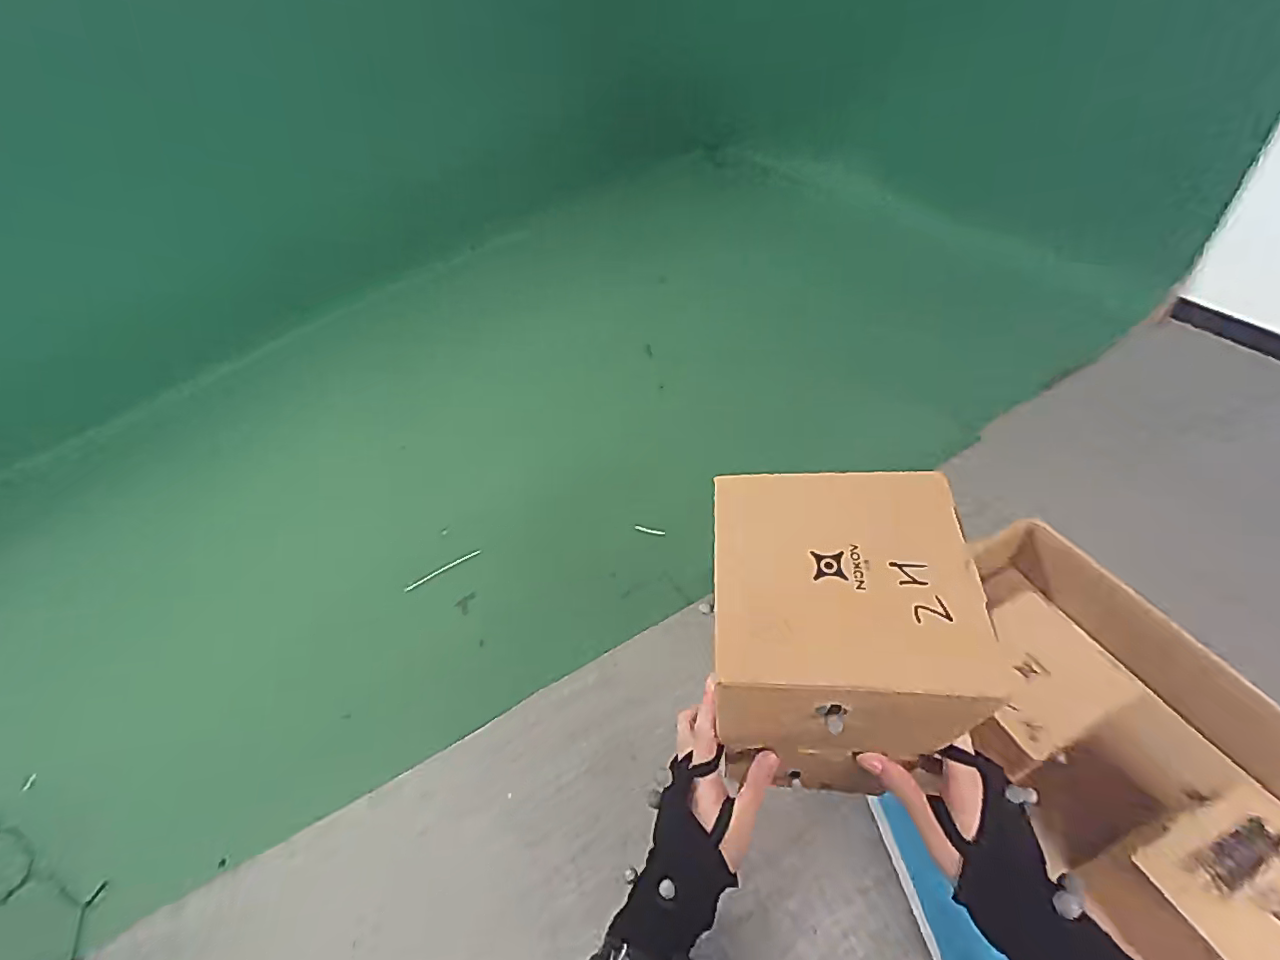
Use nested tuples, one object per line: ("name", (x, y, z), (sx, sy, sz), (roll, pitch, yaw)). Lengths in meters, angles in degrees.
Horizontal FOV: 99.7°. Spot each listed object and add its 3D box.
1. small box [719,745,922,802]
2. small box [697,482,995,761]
("small box", (0.167, 0.217, 0.565), (0.168, 0.176, 0.179), (0, 52, 9))
("small box", (0.140, 0.117, 0.436), (0.179, 0.176, 0.168), (-1, 52, 9))
